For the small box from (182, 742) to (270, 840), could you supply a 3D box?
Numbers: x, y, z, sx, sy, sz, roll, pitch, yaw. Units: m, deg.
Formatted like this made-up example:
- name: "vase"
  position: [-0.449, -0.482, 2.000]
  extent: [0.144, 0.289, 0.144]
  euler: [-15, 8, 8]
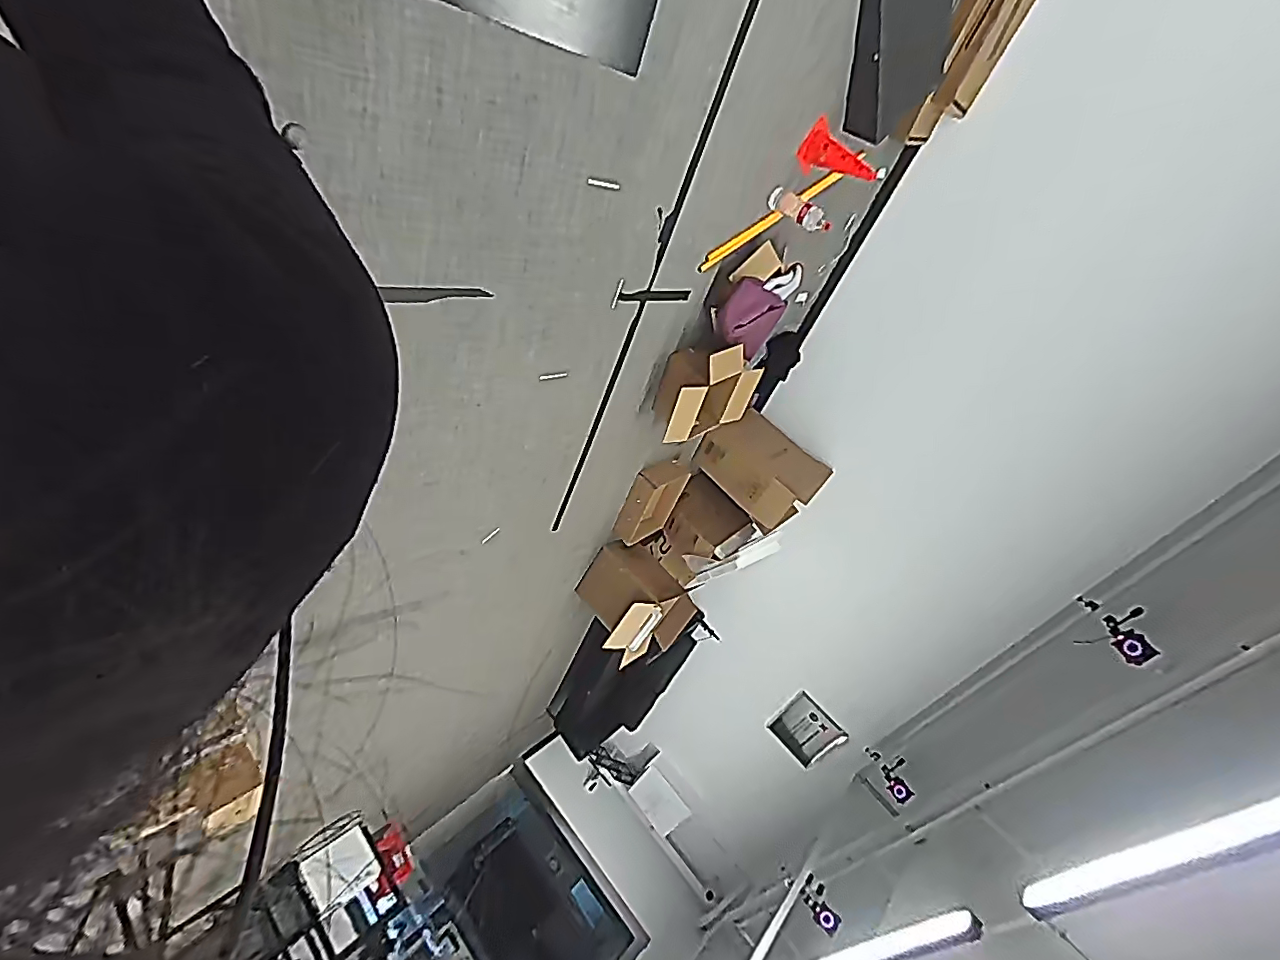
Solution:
- name: "small box"
  position: [-1.278, 0.954, 1.674]
  extent: [0.168, 0.176, 0.179]
  euler: [-25, 145, -46]
